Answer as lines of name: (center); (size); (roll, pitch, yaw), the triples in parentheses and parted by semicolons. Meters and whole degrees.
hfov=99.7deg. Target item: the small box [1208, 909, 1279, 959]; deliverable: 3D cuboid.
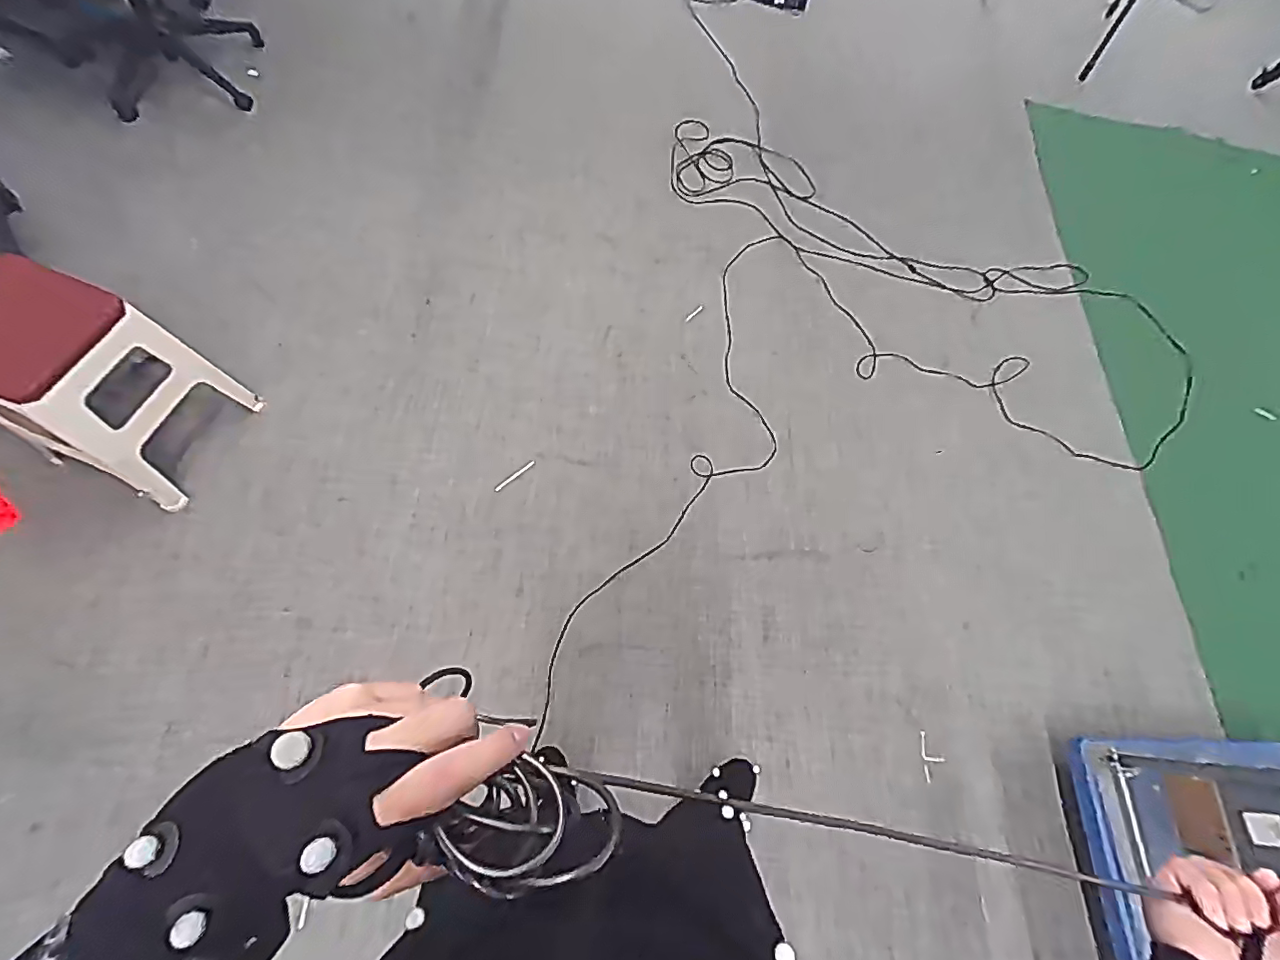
small box: (1.419, 1.059, 1.173); (0.179, 0.176, 0.168); (6, 67, -5)

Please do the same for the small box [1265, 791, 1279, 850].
small box: (1.680, 0.852, 1.297); (0.179, 0.176, 0.168); (2, 68, -7)
